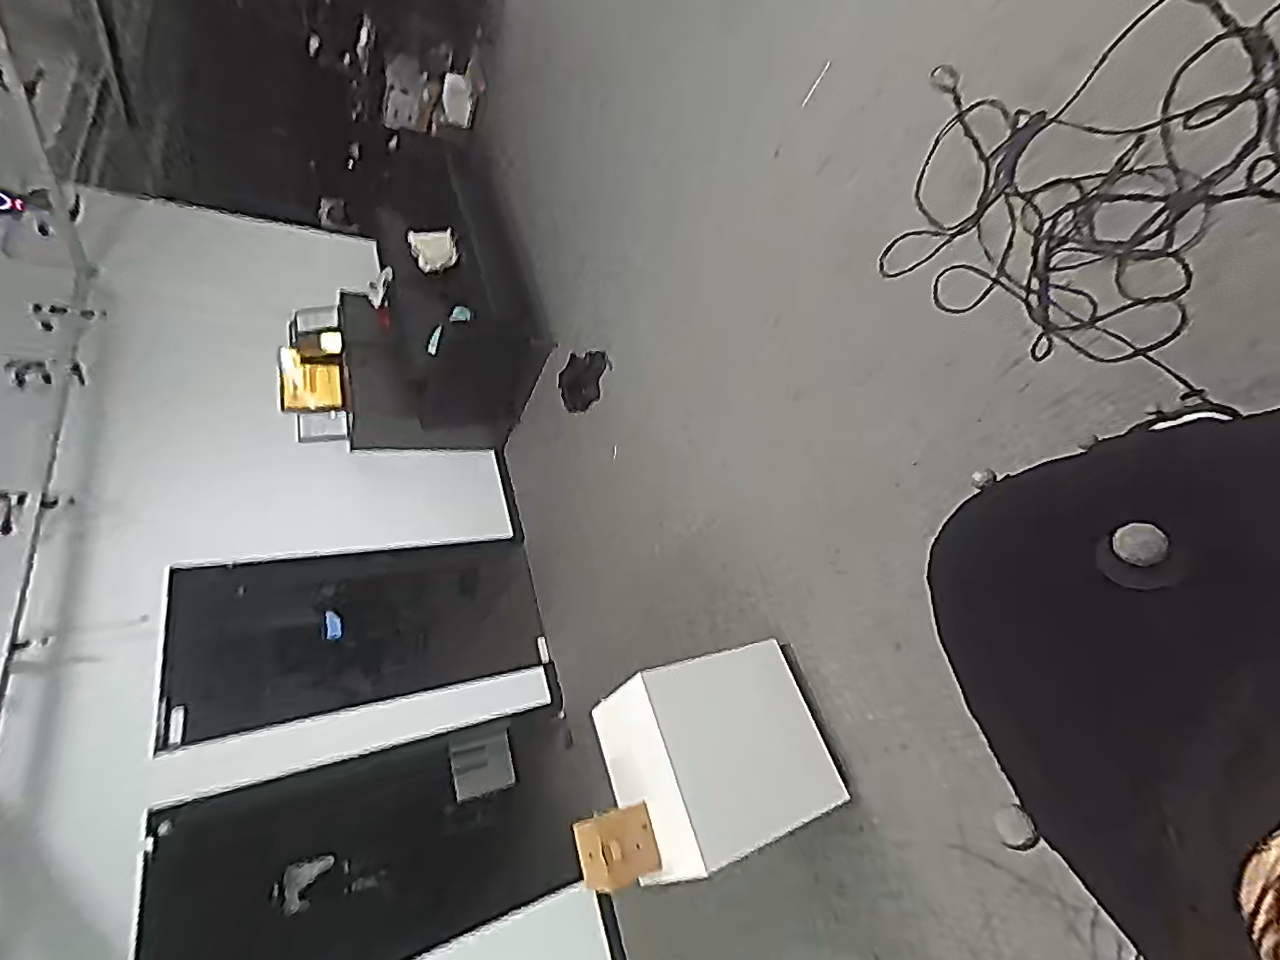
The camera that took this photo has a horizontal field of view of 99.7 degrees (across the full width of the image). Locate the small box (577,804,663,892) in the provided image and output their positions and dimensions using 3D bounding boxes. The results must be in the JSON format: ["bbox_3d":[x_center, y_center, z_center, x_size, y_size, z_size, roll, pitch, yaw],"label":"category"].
[{"bbox_3d":[-0.058,1.048,1.543,0.179,0.176,0.168,-51,49,45],"label":"small box"}]
